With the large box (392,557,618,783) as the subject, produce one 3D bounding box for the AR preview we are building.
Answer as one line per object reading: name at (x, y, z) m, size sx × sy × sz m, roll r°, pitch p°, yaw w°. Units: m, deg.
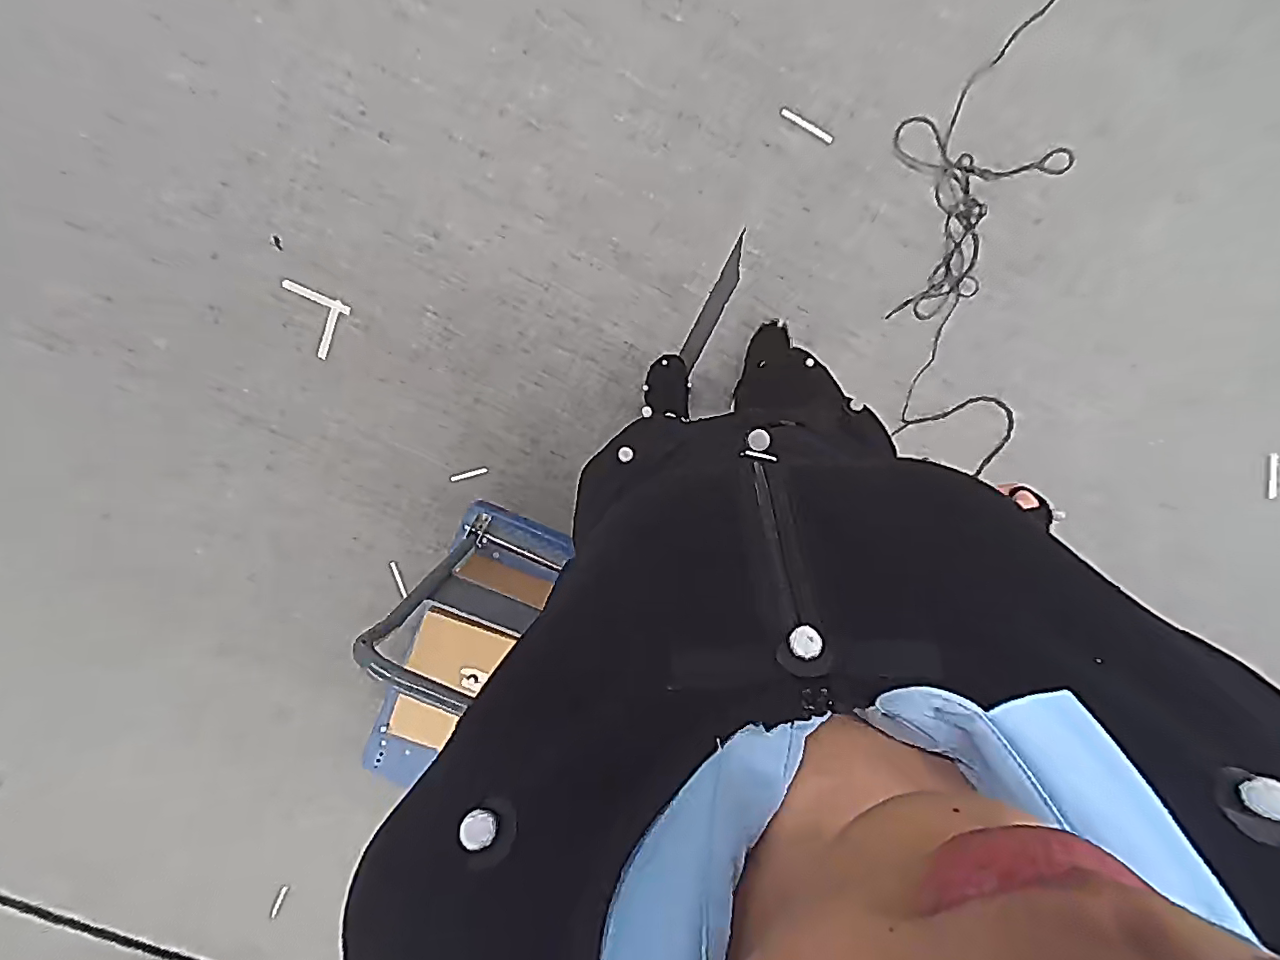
large box at (-0.293, 0.431, 1.286) m, size 0.408 × 0.320 × 0.320 m, roll 21°, pitch 102°, yaw -4°
